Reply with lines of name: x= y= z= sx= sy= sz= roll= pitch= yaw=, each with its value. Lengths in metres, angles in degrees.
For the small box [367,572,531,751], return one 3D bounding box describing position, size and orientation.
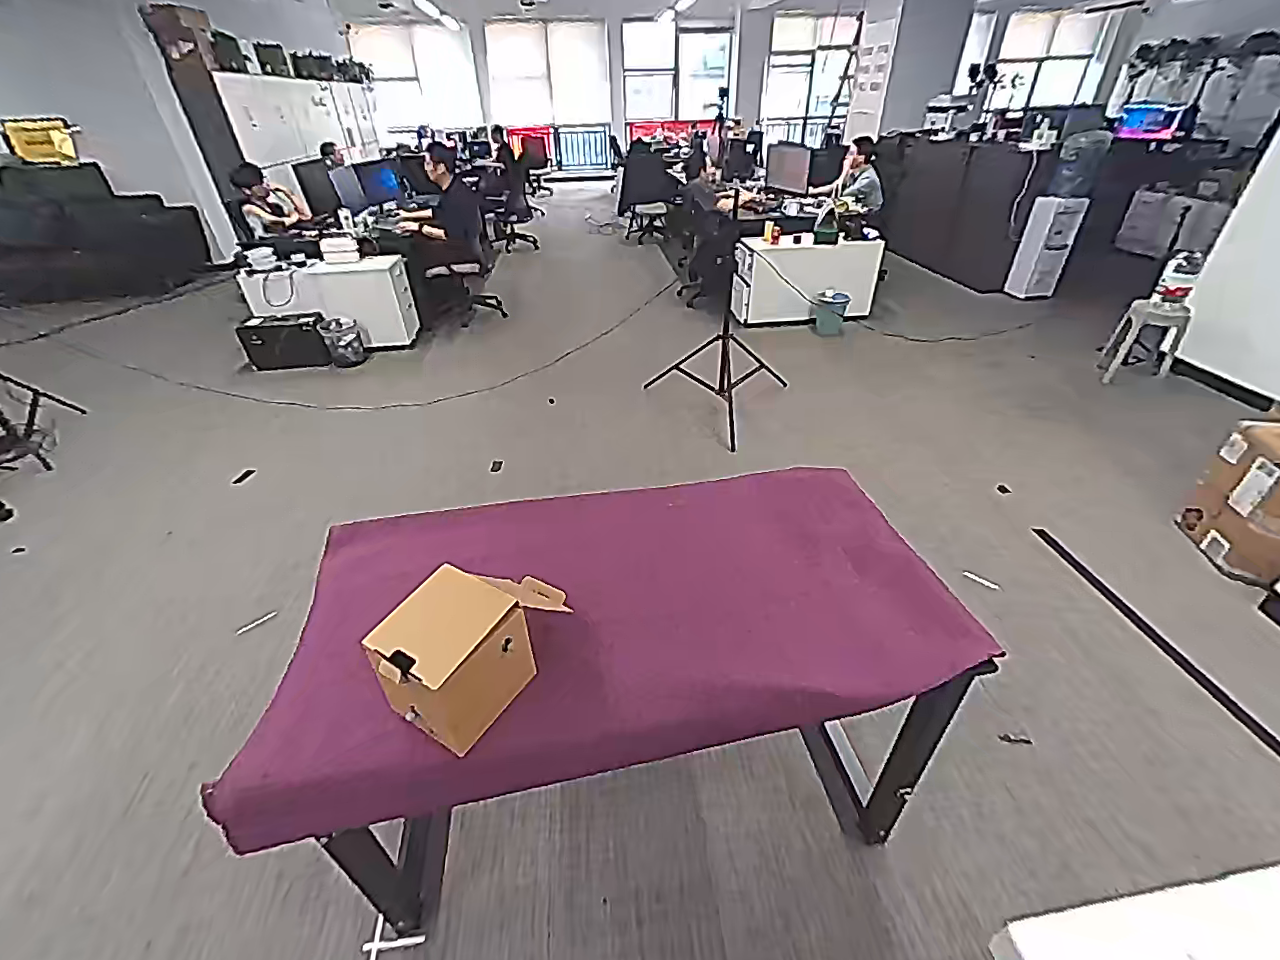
small box: x=-0.293 y=0.286 z=0.868 sx=0.168 sy=0.176 sz=0.179 roll=17 pitch=39 yaw=27
